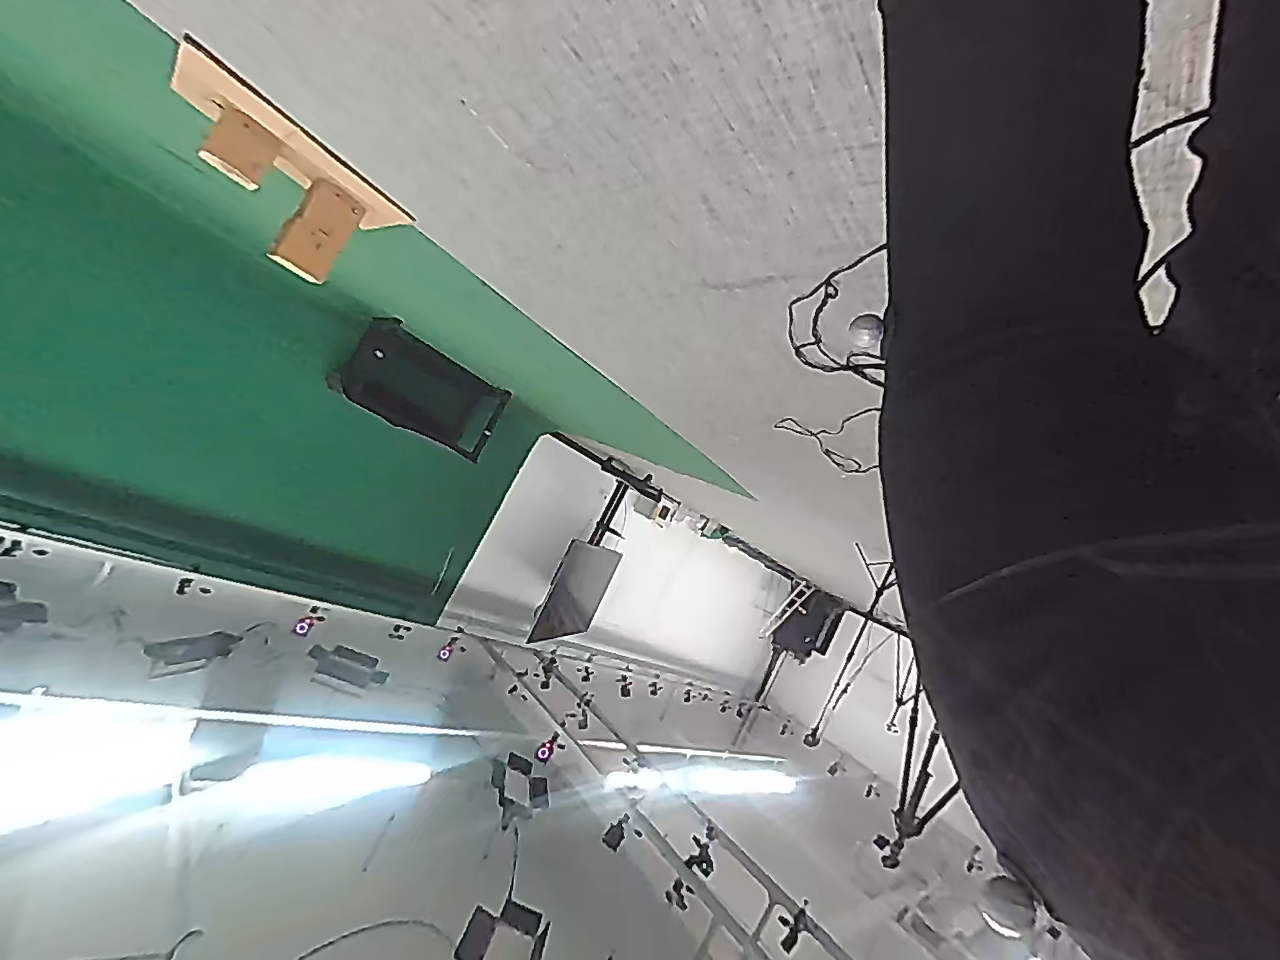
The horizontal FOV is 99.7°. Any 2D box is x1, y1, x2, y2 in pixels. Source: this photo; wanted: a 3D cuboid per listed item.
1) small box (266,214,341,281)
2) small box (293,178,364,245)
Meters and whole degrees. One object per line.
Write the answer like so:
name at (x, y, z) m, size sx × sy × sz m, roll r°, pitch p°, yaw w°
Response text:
small box at (-1.268, -0.881, 2.044) m, size 0.179 × 0.176 × 0.168 m, roll 23°, pitch 173°, yaw 42°
small box at (-1.181, -1.018, 2.052) m, size 0.179 × 0.176 × 0.168 m, roll 24°, pitch 175°, yaw 43°
